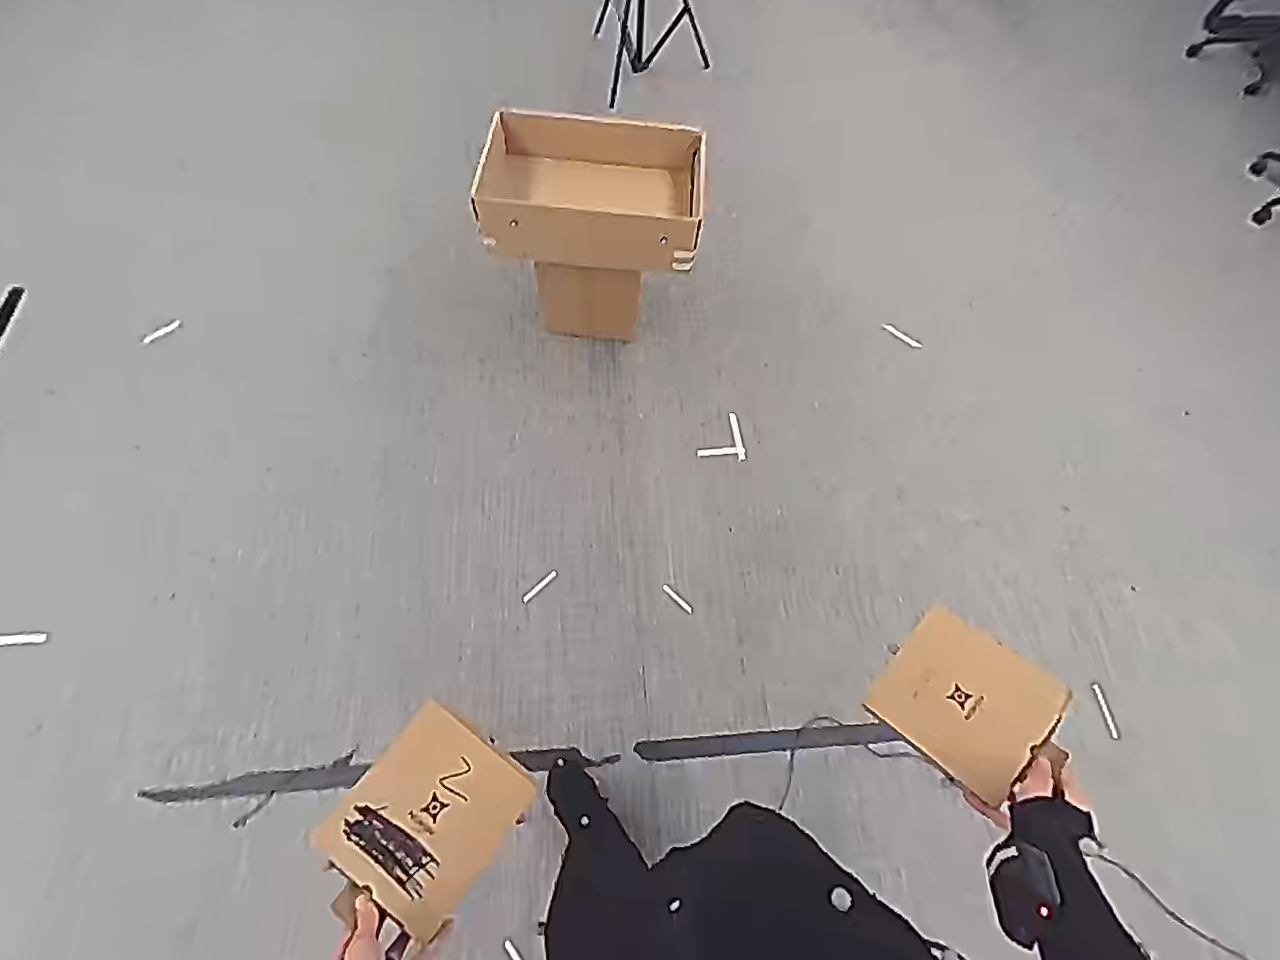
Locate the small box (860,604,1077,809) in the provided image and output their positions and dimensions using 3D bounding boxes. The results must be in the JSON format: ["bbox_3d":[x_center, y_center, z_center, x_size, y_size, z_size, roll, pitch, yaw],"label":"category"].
[{"bbox_3d":[0.421,0.296,0.725,0.179,0.176,0.168,37,83,32],"label":"small box"}]
